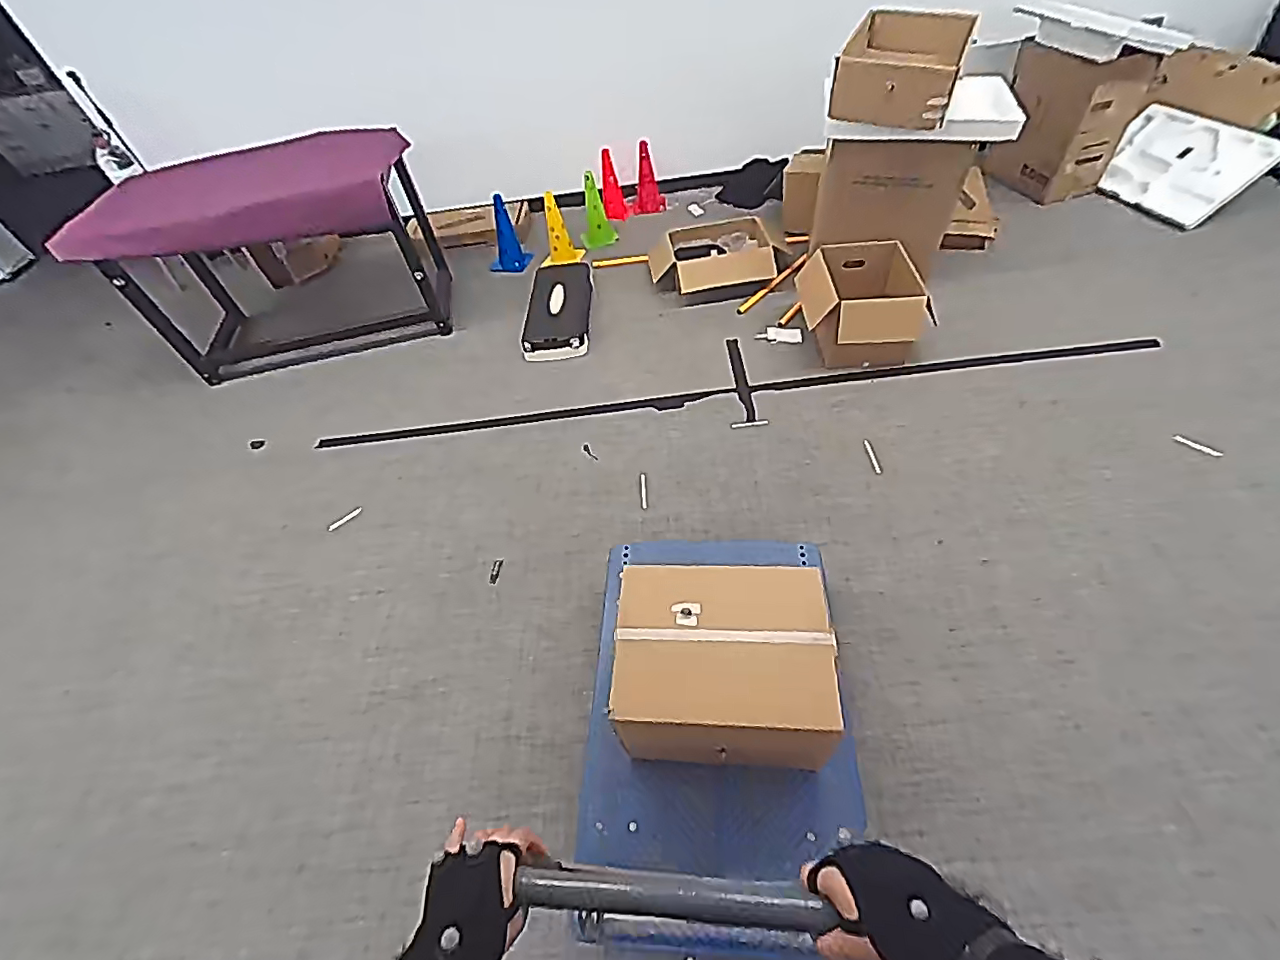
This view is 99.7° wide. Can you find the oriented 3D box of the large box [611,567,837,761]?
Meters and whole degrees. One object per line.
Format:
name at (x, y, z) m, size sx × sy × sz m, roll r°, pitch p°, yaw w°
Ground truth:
large box at (0.172, 0.401, 1.161) m, size 0.408 × 0.320 × 0.320 m, roll -2°, pitch 50°, yaw 8°
